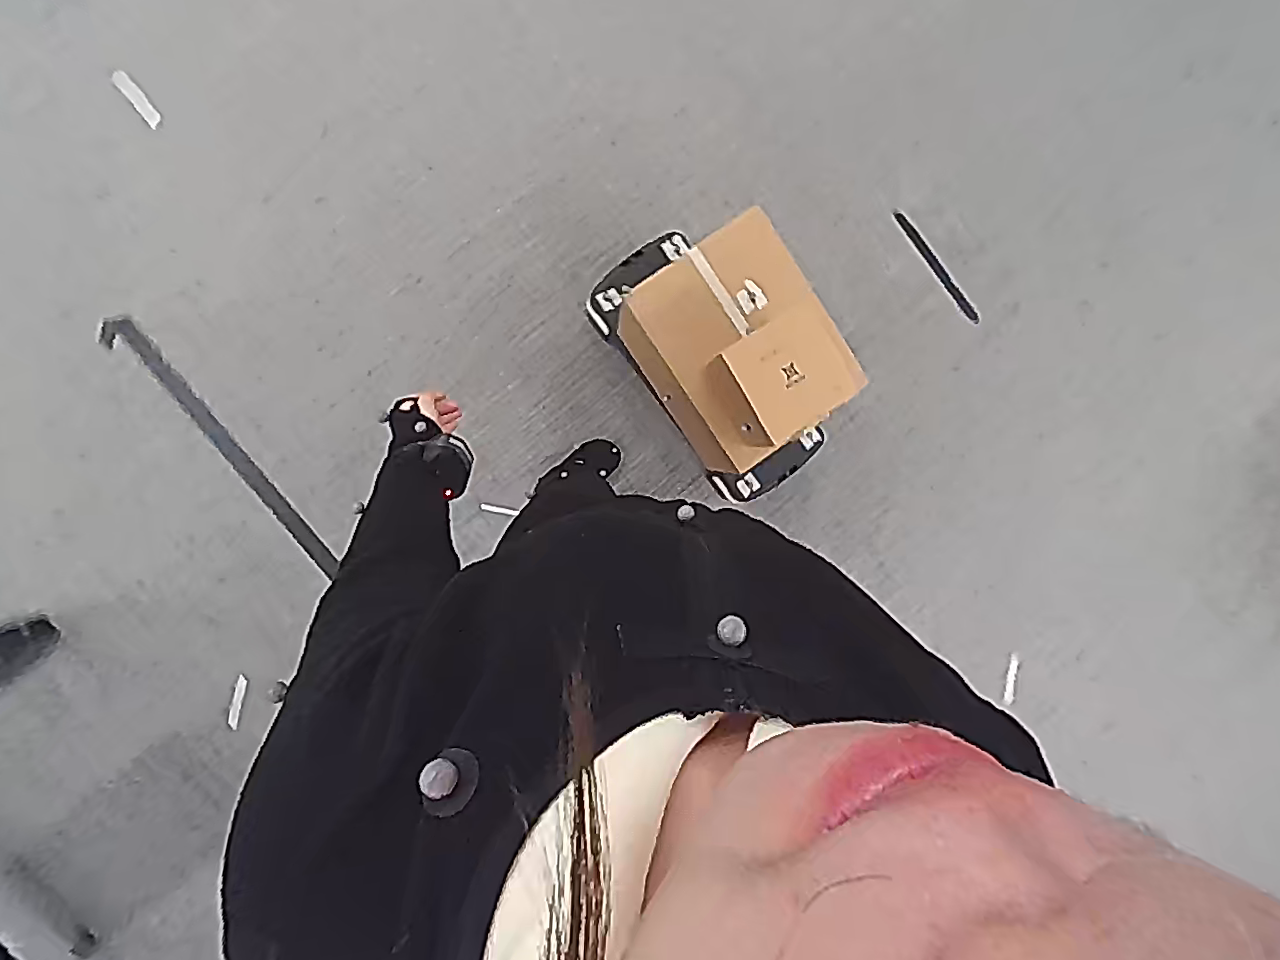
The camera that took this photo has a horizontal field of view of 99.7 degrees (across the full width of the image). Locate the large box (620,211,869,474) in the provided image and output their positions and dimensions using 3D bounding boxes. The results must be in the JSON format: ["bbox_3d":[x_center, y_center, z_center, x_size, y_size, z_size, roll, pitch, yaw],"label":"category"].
[{"bbox_3d":[0.195,-0.261,1.160,0.320,0.320,0.408,-35,94,-3],"label":"large box"}]

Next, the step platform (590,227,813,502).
[{"bbox_3d":[0.154,-0.282,1.395,0.286,0.204,0.684,-32,94,-3],"label":"step platform"}]

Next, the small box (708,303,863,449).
[{"bbox_3d":[0.237,-0.168,0.921,0.168,0.176,0.179,-31,94,-2],"label":"small box"}]
